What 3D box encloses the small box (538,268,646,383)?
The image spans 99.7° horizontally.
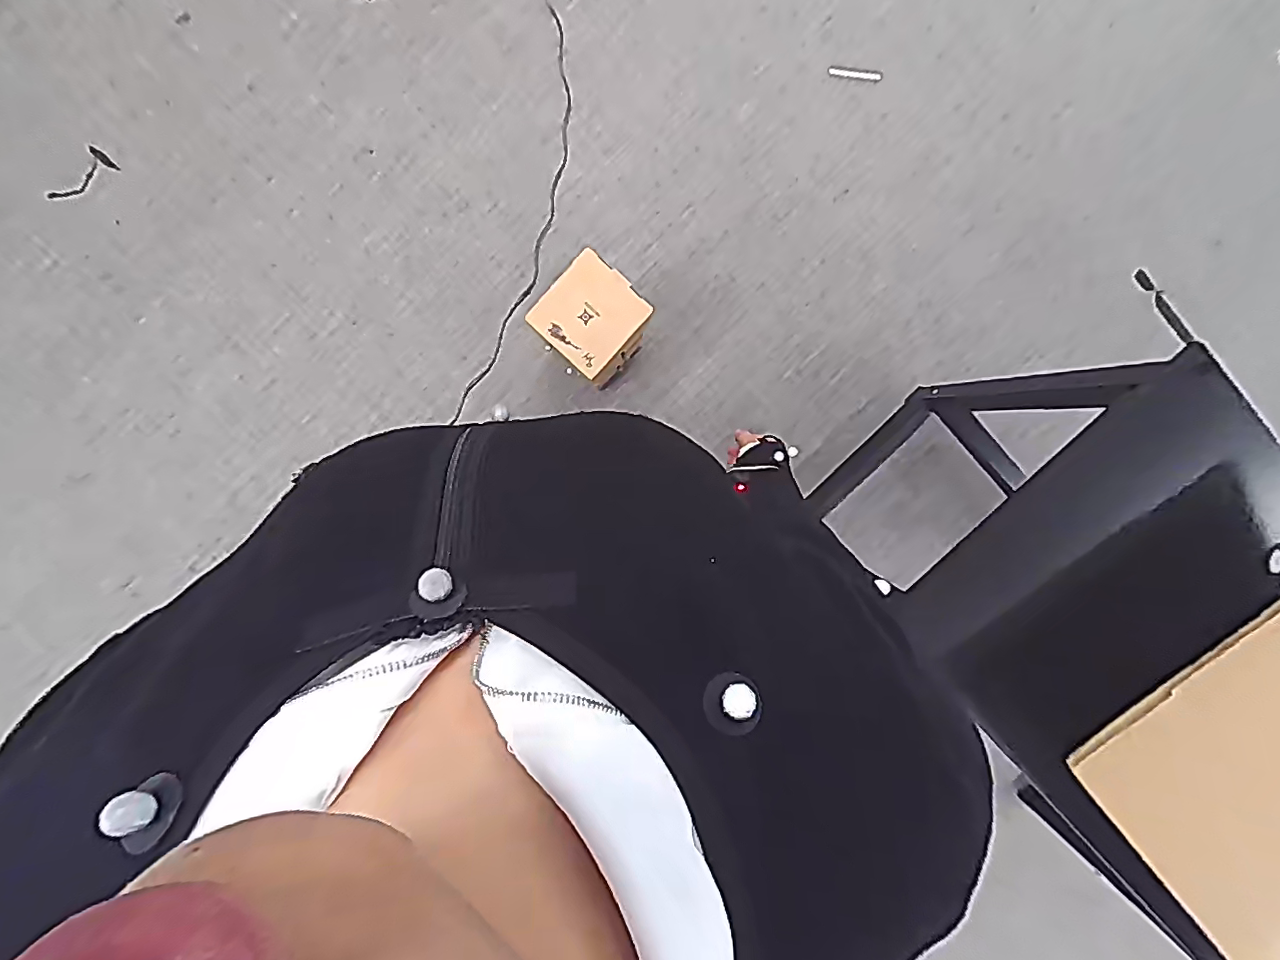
[{"bbox_3d":[-0.104,-0.336,1.220,0.168,0.176,0.179,39,91,-6],"label":"small box"}]

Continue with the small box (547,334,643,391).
[{"bbox_3d":[-0.113,-0.345,1.381,0.168,0.176,0.179,43,93,-5],"label":"small box"}]
